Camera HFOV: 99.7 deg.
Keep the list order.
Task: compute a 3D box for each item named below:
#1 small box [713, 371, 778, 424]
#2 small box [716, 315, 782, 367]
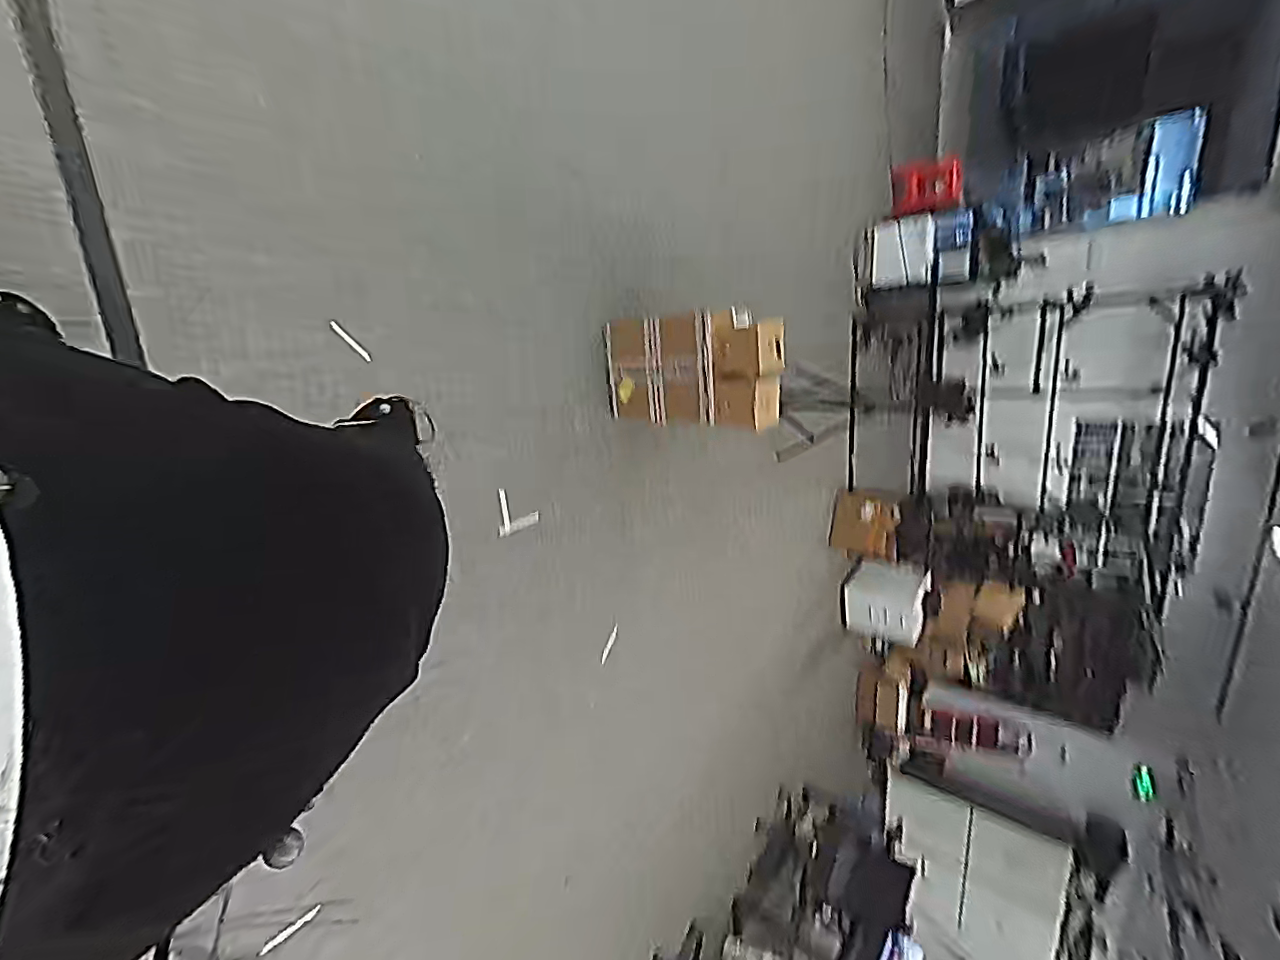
[{"bbox_3d":[0.380,-0.301,1.948,0.179,0.176,0.168,-19,113,-45],"label":"small box"},{"bbox_3d":[0.388,-0.493,1.919,0.179,0.176,0.168,-22,112,-43],"label":"small box"}]
